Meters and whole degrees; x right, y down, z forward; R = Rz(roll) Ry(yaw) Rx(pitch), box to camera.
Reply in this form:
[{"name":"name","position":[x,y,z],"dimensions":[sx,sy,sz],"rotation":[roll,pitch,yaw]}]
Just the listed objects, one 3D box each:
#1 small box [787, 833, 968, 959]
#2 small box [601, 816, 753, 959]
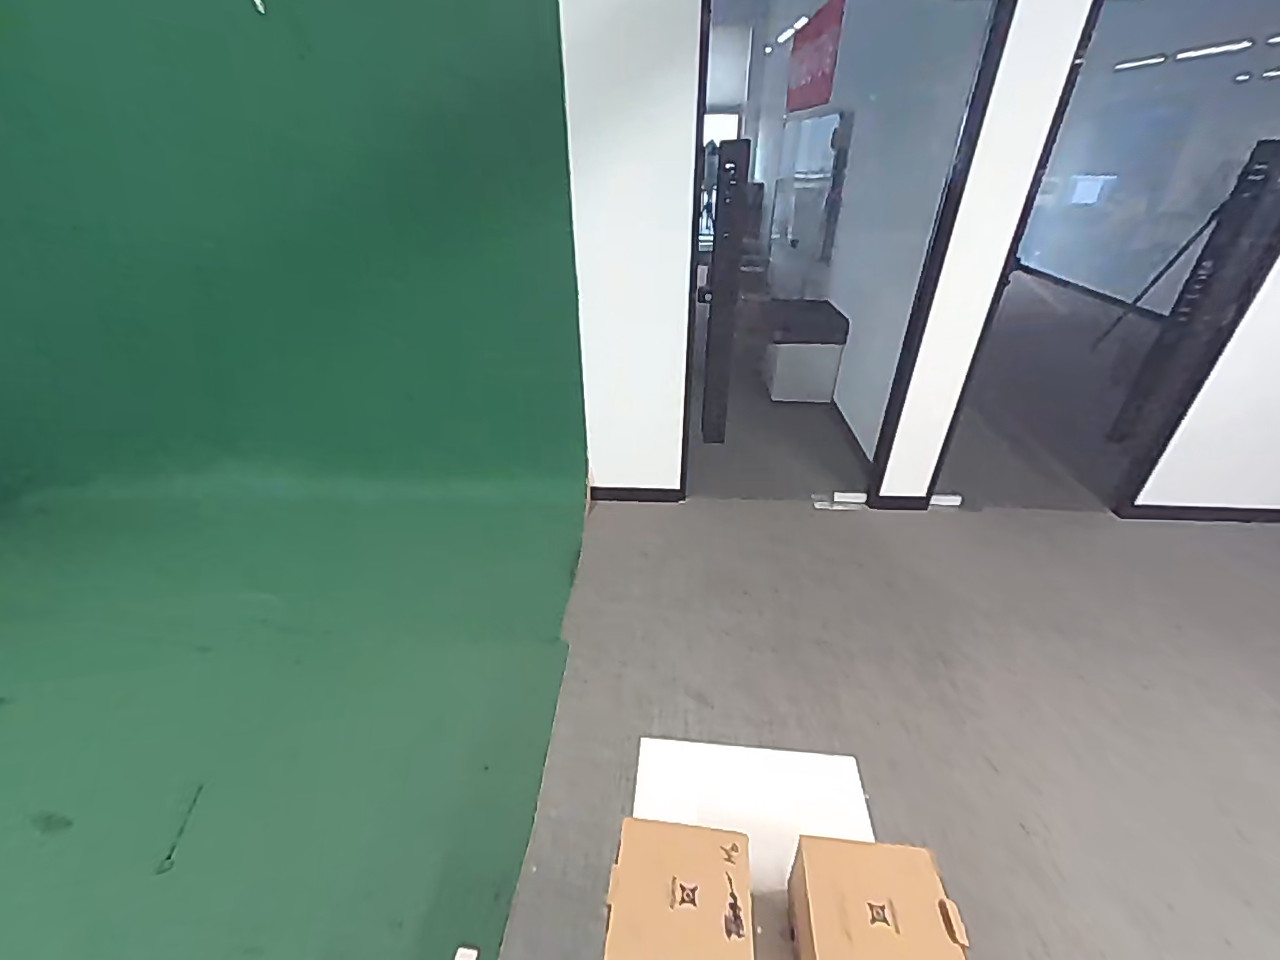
[{"name":"small box","position":[0.295,0.595,0.699],"dimensions":[0.179,0.176,0.168],"rotation":[2,31,7]},{"name":"small box","position":[0.050,0.582,0.716],"dimensions":[0.179,0.176,0.168],"rotation":[5,33,5]}]
